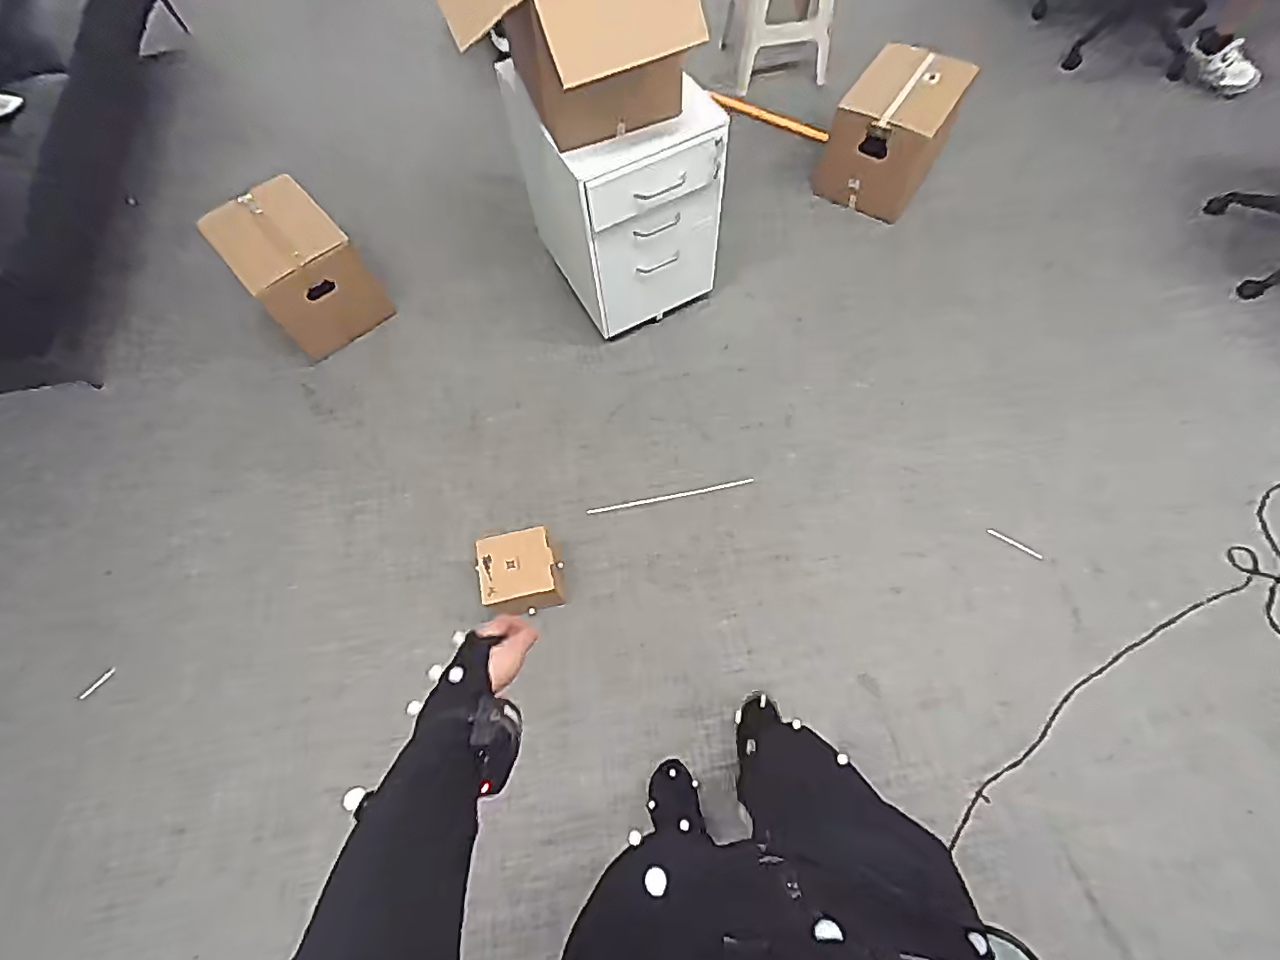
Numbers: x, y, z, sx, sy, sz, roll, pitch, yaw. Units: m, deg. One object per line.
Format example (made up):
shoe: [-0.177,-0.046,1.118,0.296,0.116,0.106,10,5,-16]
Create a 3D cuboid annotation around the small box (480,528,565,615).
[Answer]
small box: [-0.294,0.239,1.387,0.179,0.176,0.168,-12,66,-2]
